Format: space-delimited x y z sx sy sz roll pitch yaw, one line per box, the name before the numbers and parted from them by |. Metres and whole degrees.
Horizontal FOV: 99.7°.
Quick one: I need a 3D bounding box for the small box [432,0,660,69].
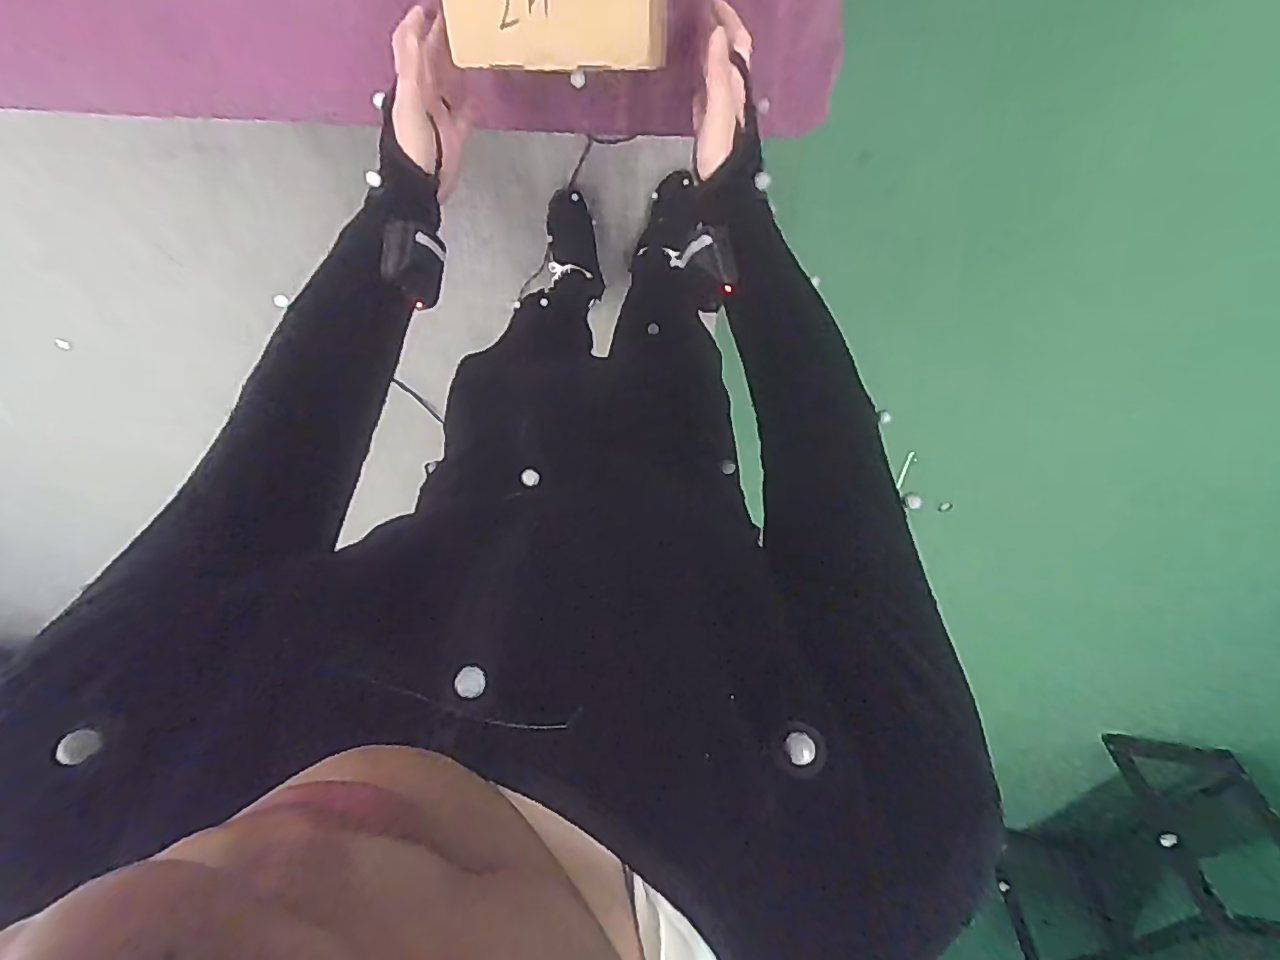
small box | -0.069 -0.450 0.444 0.168 0.176 0.179 5 128 5
